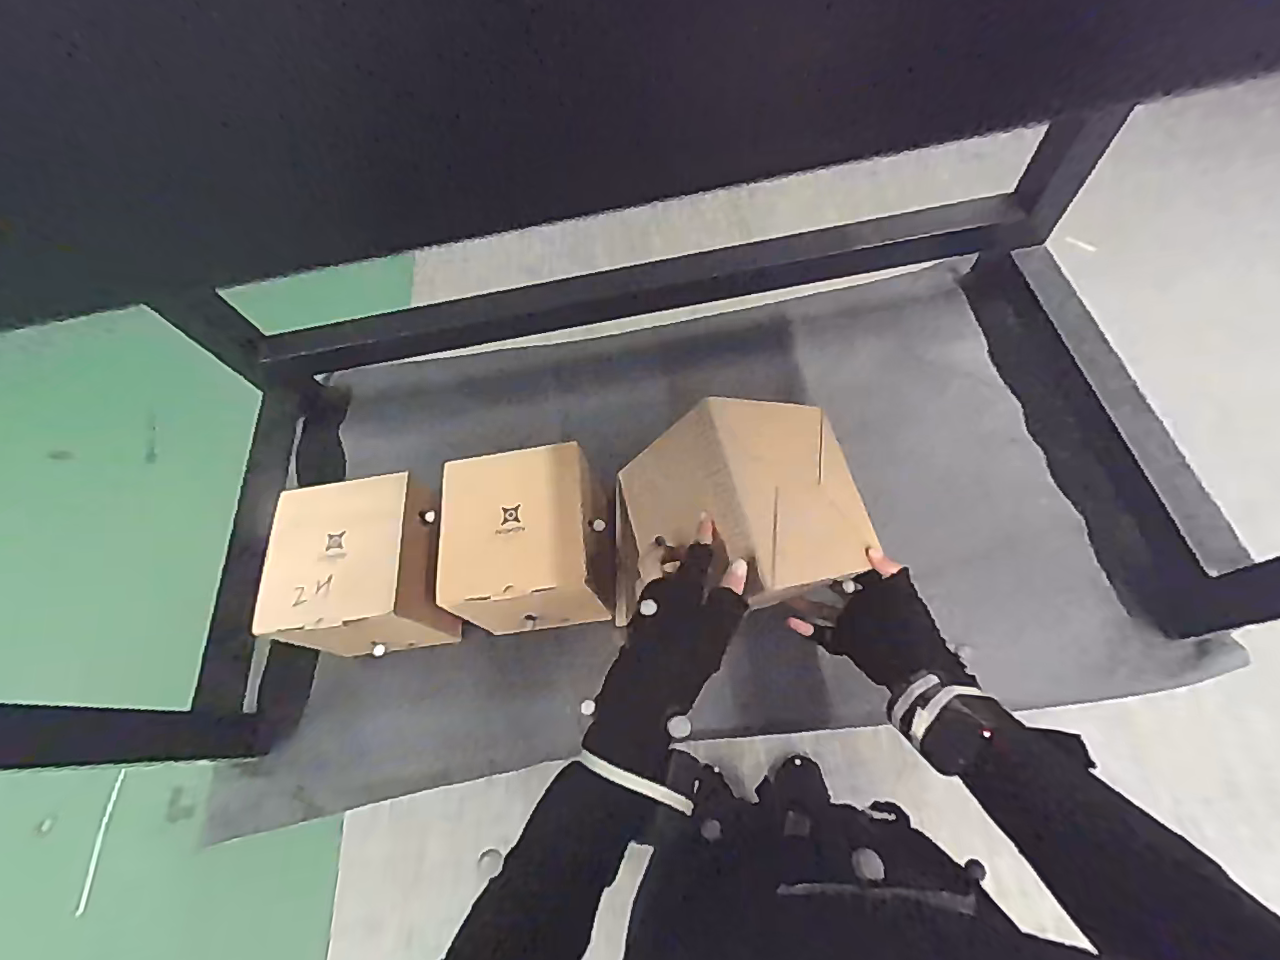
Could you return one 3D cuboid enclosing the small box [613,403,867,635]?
[{"bbox_3d":[0.099,0.042,0.553,0.168,0.176,0.179,0,65,-37],"label":"small box"}]
